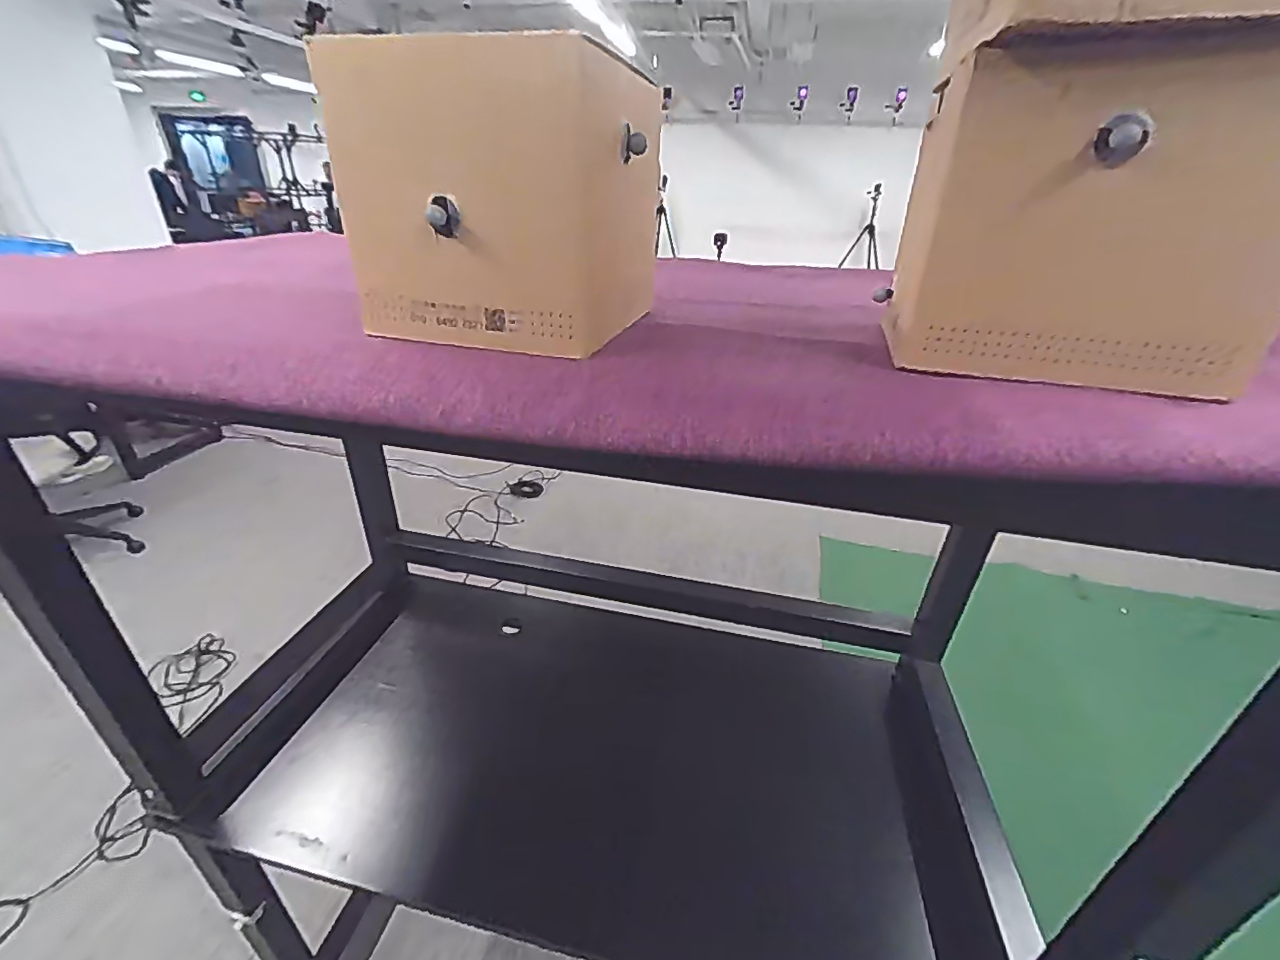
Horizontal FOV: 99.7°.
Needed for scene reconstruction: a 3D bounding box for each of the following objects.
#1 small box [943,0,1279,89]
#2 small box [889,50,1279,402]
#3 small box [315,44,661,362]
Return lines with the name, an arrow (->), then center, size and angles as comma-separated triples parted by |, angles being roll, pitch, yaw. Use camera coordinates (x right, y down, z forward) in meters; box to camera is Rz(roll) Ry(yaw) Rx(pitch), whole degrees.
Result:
small box -> 0.272, -0.296, 0.267 | 0.179, 0.176, 0.168 | 8, 28, 12
small box -> 0.273, -0.158, 0.354 | 0.179, 0.176, 0.168 | 10, 28, 16
small box -> -0.086, -0.194, 0.395 | 0.168, 0.176, 0.179 | 10, 30, 12
